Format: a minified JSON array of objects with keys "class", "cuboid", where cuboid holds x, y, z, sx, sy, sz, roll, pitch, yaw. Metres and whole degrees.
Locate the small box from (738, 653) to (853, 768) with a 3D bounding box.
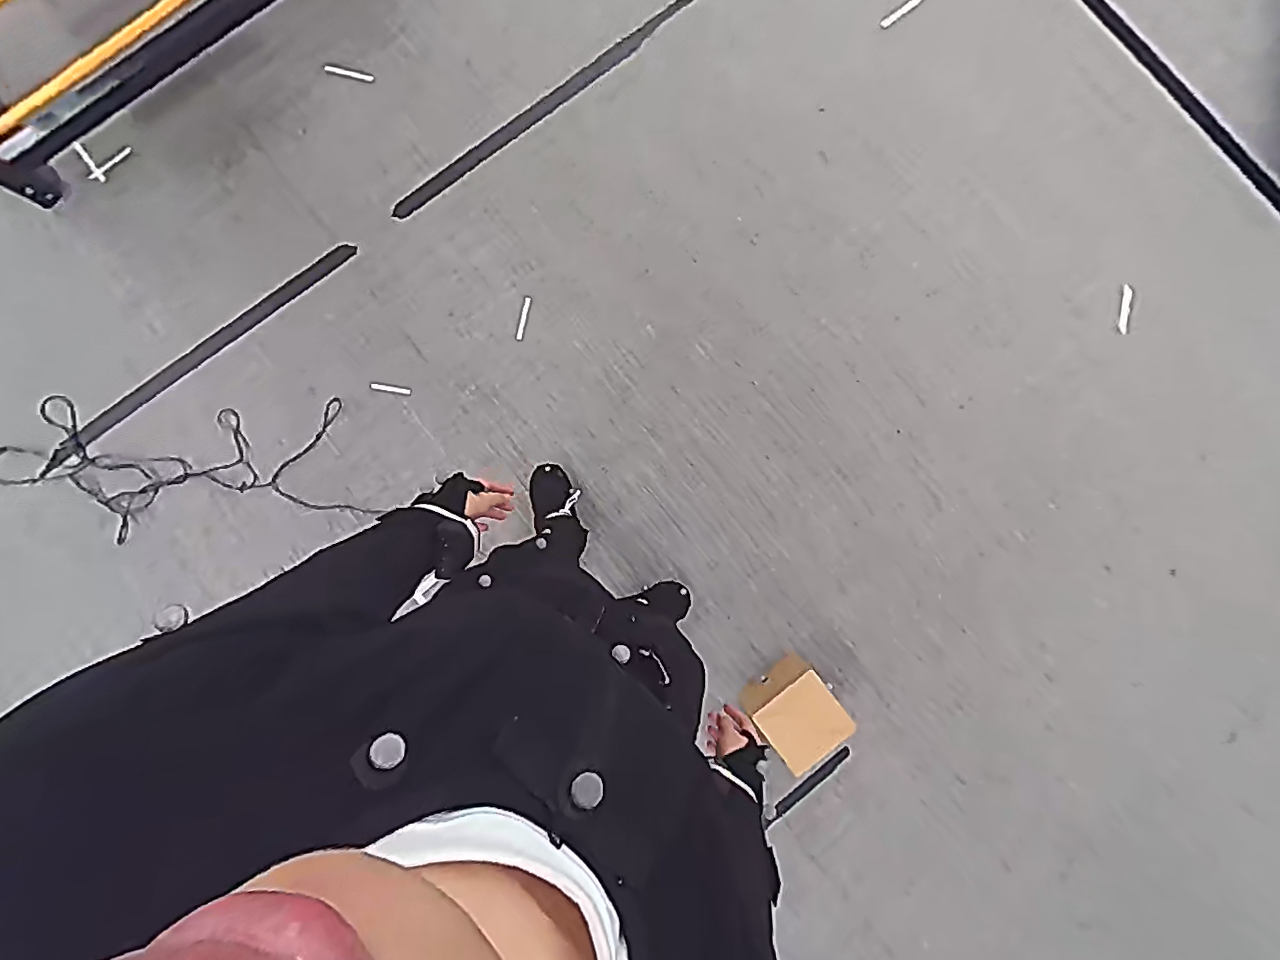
[{"class":"small box","cuboid":[0.360,0.542,1.272,0.179,0.176,0.168,-37,86,-2]}]
